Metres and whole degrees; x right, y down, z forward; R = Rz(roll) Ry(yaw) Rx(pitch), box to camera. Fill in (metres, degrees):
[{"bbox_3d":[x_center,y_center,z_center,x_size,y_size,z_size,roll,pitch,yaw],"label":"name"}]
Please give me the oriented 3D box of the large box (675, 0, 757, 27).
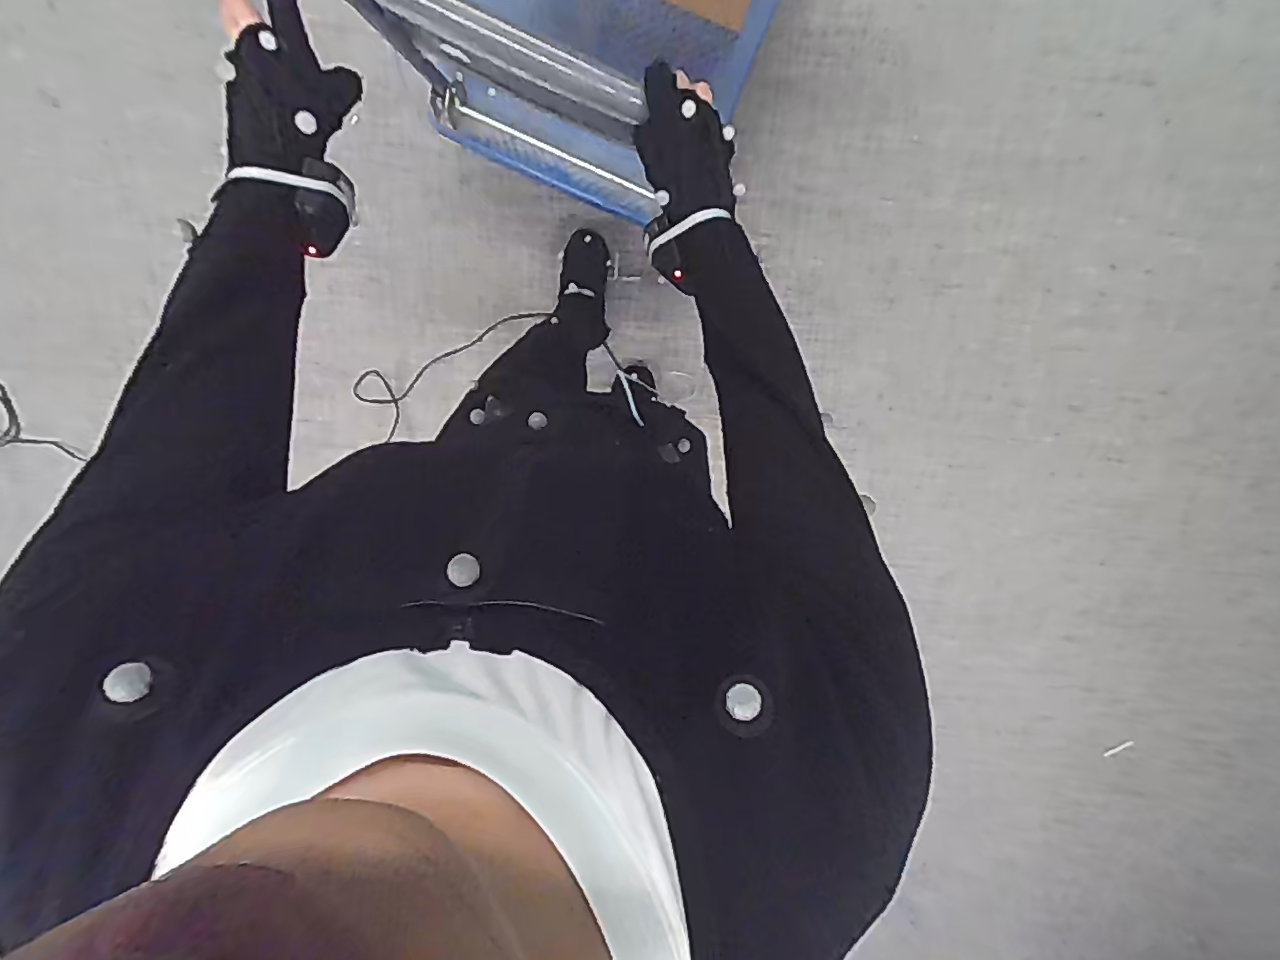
[{"bbox_3d":[0.067,-1.038,0.861,0.408,0.320,0.320,20,105,-4],"label":"large box"}]
